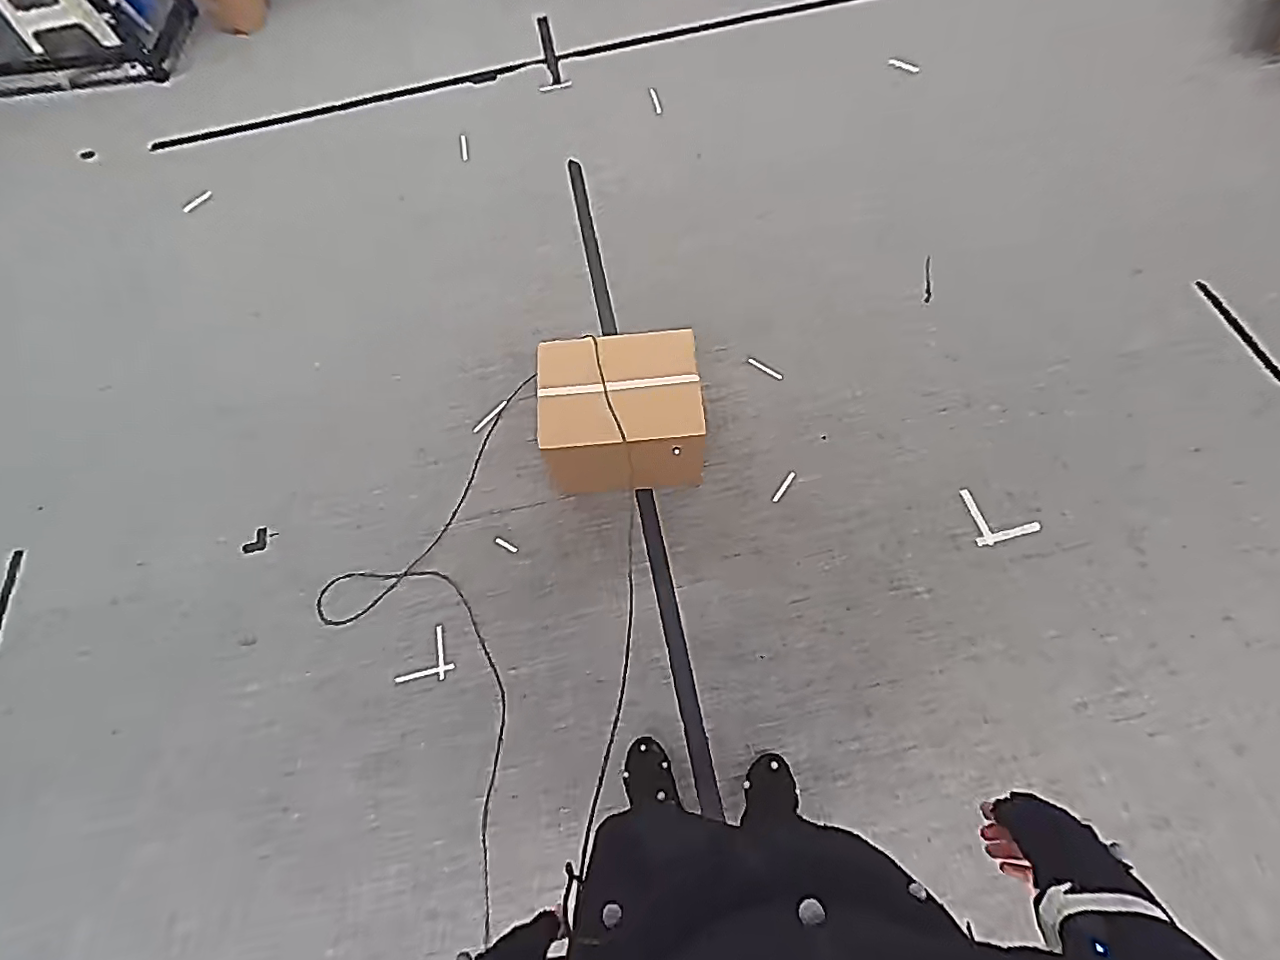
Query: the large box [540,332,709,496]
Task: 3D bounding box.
[{"bbox_3d":[-0.038,-0.165,1.471,0.408,0.320,0.320,-5,67,1],"label":"large box"}]
